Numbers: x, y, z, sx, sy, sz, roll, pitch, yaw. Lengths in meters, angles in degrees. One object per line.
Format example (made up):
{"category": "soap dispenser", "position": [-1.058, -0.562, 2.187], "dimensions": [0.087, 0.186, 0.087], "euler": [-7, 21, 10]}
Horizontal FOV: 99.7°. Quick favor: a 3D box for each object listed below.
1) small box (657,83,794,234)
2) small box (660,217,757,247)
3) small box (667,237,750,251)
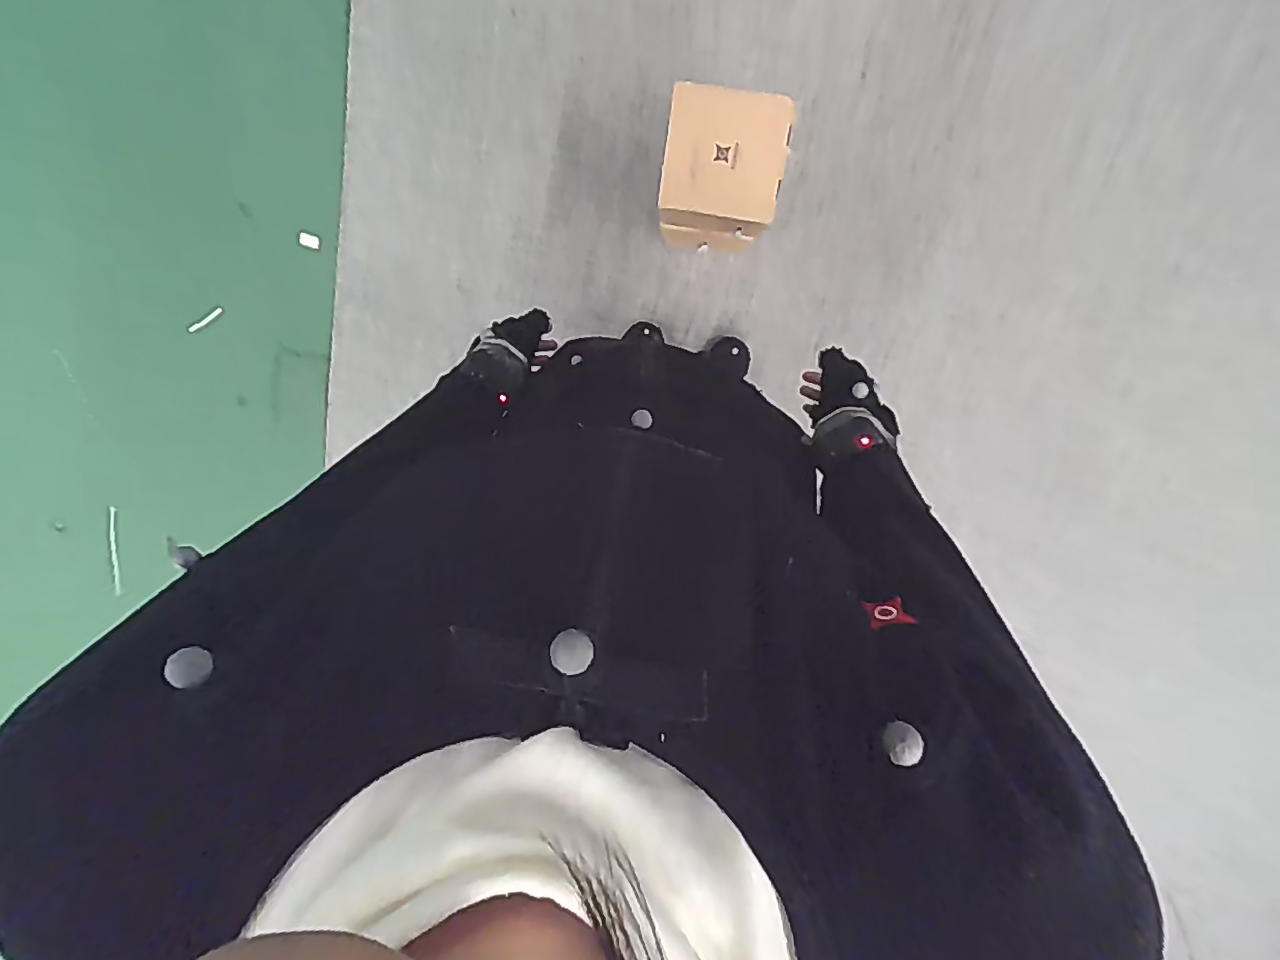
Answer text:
{"category": "small box", "position": [0.129, -0.498, 0.863], "dimensions": [0.179, 0.176, 0.168], "euler": [9, 107, 3]}
{"category": "small box", "position": [0.138, -0.543, 1.019], "dimensions": [0.179, 0.176, 0.168], "euler": [9, 108, 2]}
{"category": "small box", "position": [0.153, -0.596, 1.172], "dimensions": [0.179, 0.176, 0.168], "euler": [5, 108, 3]}
